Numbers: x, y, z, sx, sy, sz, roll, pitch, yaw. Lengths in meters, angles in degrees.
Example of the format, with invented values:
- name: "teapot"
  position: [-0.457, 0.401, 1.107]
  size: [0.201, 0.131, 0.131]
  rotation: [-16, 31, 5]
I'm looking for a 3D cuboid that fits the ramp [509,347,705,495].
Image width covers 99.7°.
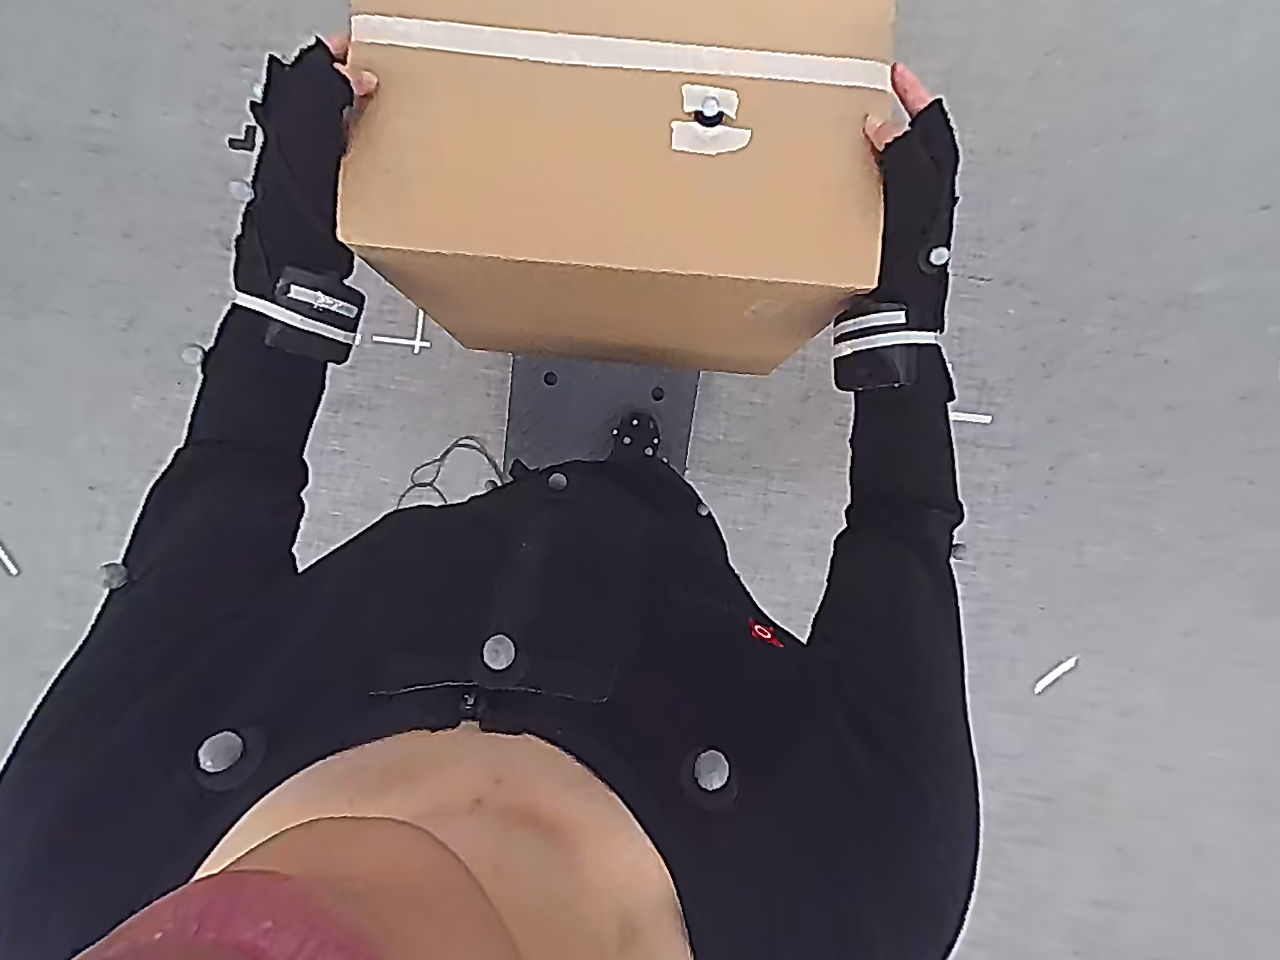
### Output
- name: "ramp"
  position: [-0.055, -0.467, 1.393]
  size: [0.509, 0.206, 0.991]
  rotation: [6, 92, -3]

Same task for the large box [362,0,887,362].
- name: "large box"
  position: [-0.013, -0.322, 0.570]
  size: [0.408, 0.320, 0.320]
  rotation: [4, 89, -2]
